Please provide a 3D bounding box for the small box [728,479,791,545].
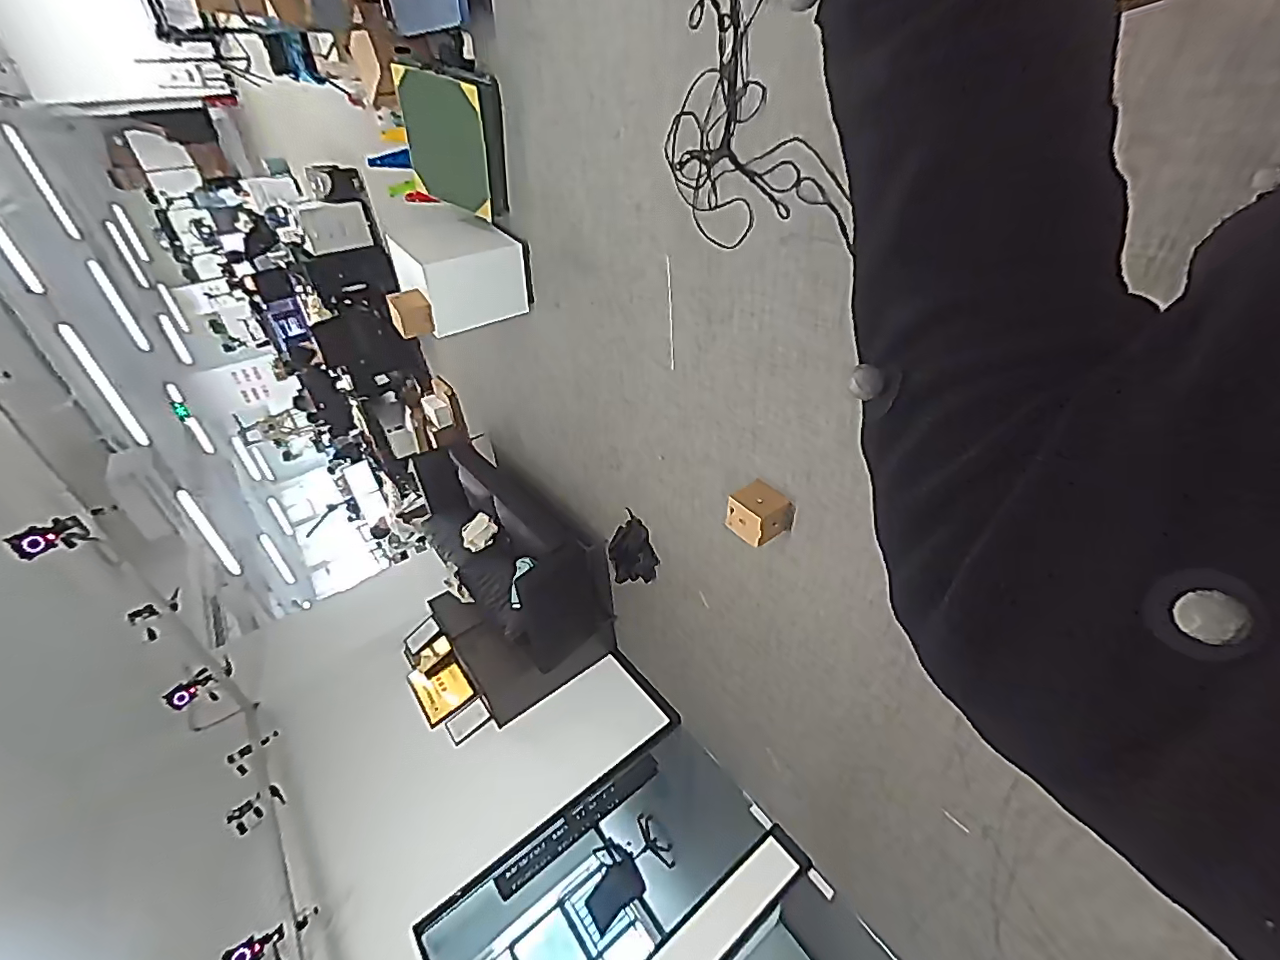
[{"bbox_3d":[0.479,0.122,2.164,0.179,0.176,0.168,37,143,38],"label":"small box"}]
